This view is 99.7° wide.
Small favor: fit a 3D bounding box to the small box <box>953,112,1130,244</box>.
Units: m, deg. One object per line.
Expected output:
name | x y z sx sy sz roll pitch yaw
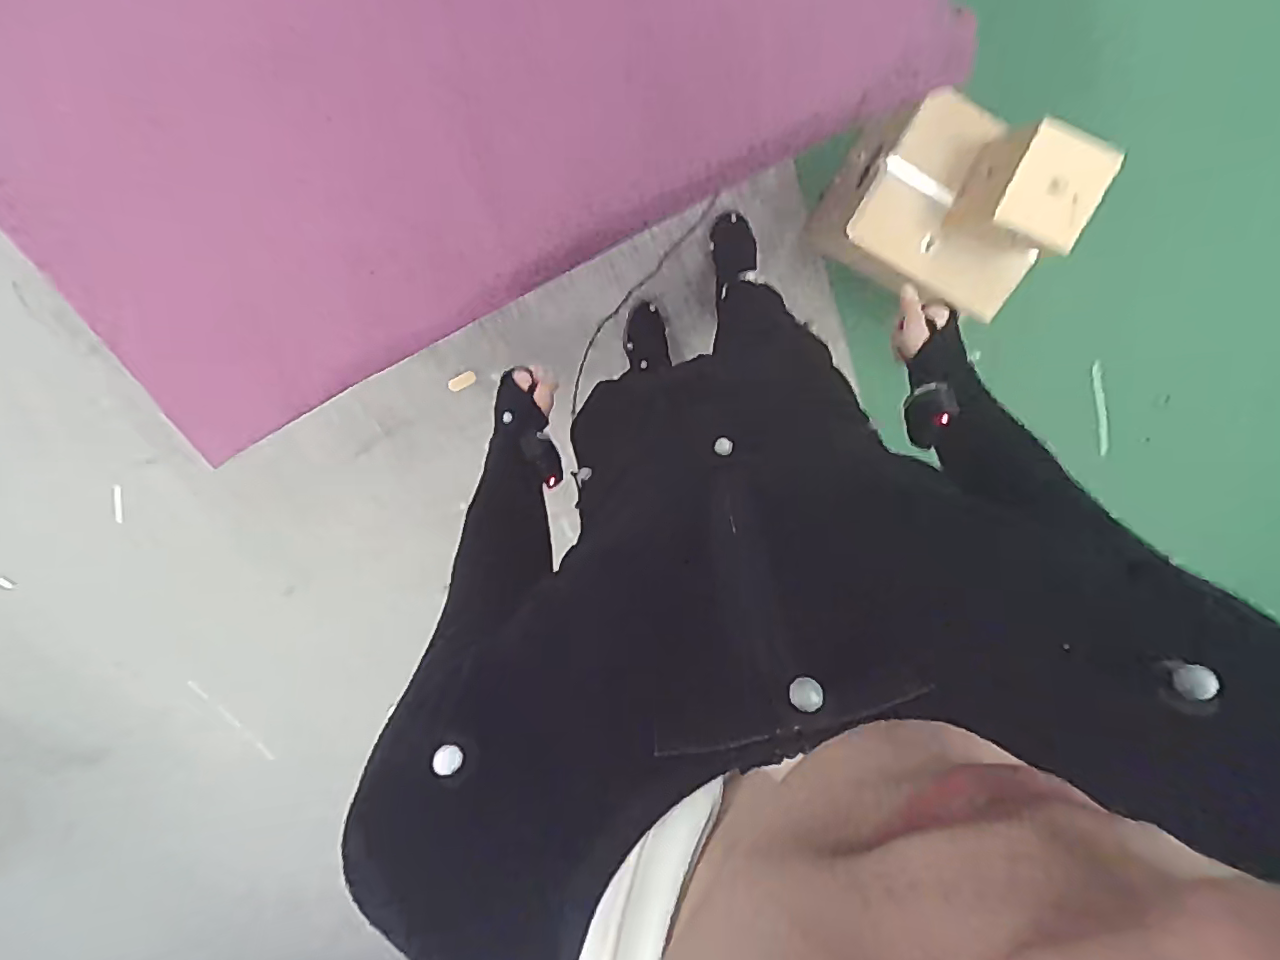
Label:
small box | 0.750 -0.562 1.035 0.179 0.176 0.168 18 111 -9
